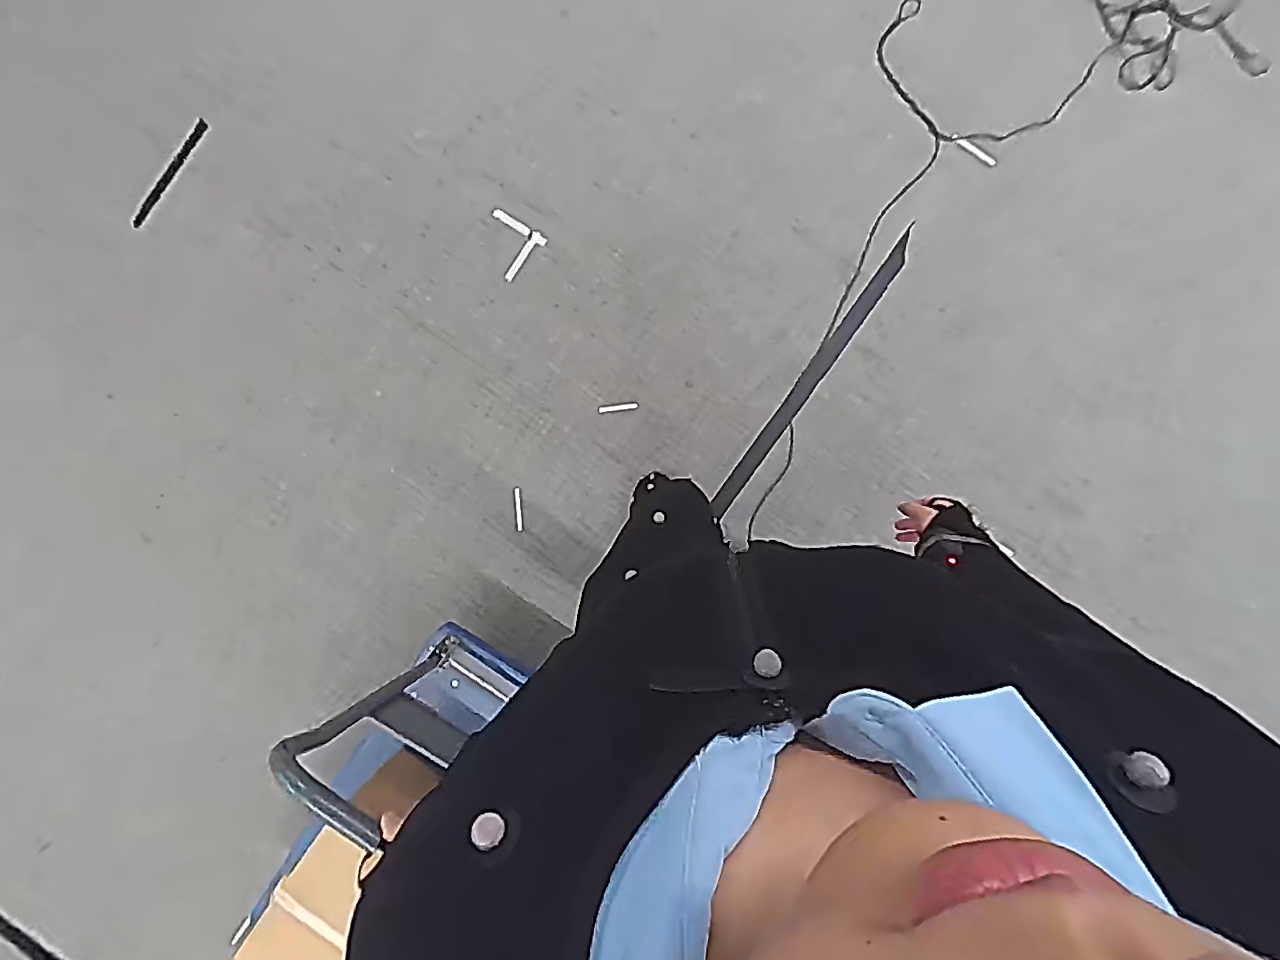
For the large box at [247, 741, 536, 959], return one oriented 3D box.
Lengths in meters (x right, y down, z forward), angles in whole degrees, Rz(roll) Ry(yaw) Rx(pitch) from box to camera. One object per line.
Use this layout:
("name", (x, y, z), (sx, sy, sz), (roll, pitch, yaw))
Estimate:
("large box", (-0.499, 0.862, 1.170), (0.408, 0.320, 0.320), (35, 89, 2))
